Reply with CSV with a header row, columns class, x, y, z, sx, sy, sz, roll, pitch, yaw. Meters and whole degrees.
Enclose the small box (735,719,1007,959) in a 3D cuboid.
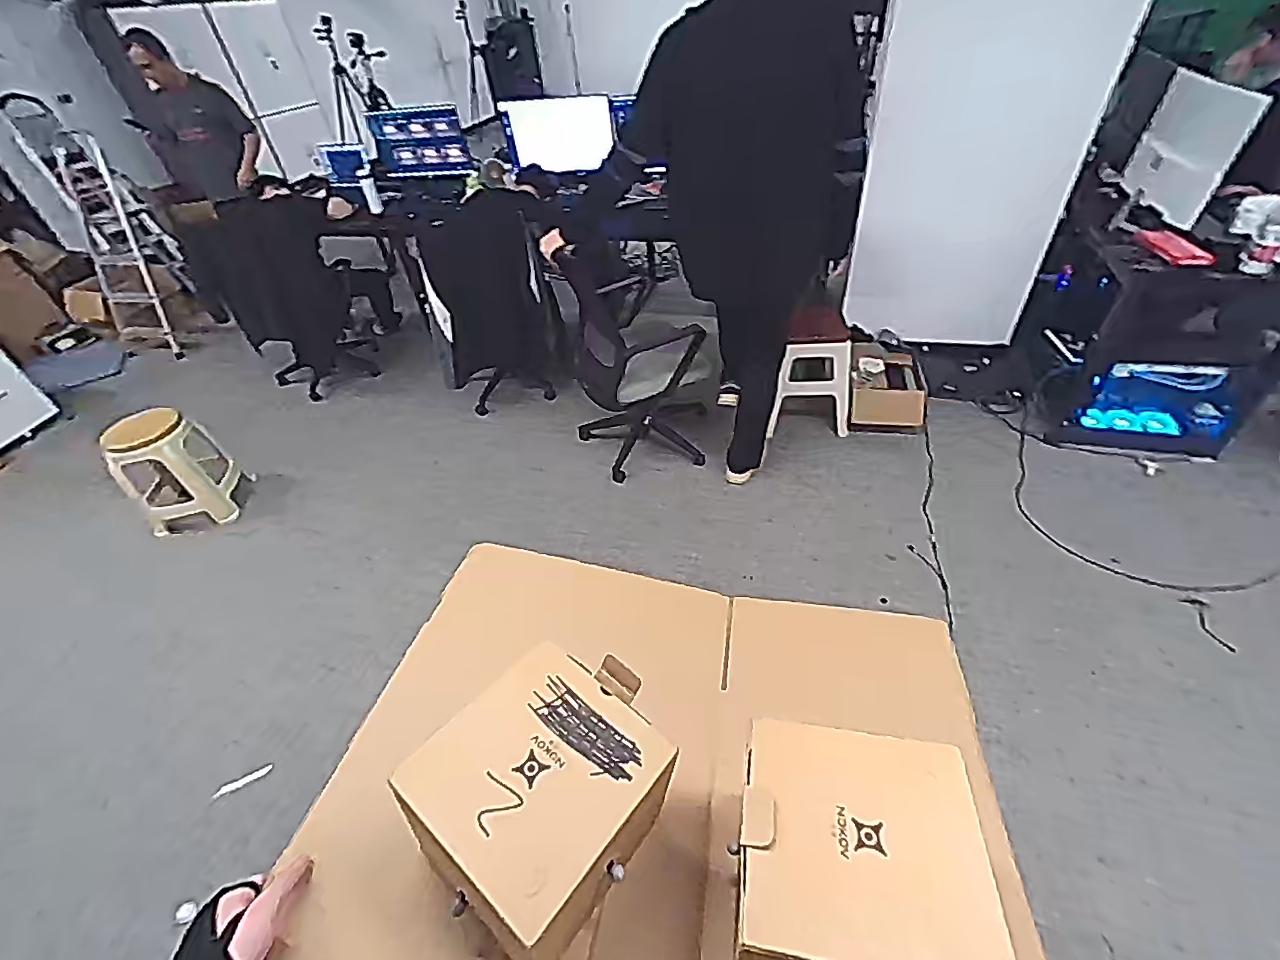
class,x,y,z,sx,sy,sz,roll,pitch,yaw
small box,0.178,0.339,0.471,0.179,0.176,0.168,3,38,12
